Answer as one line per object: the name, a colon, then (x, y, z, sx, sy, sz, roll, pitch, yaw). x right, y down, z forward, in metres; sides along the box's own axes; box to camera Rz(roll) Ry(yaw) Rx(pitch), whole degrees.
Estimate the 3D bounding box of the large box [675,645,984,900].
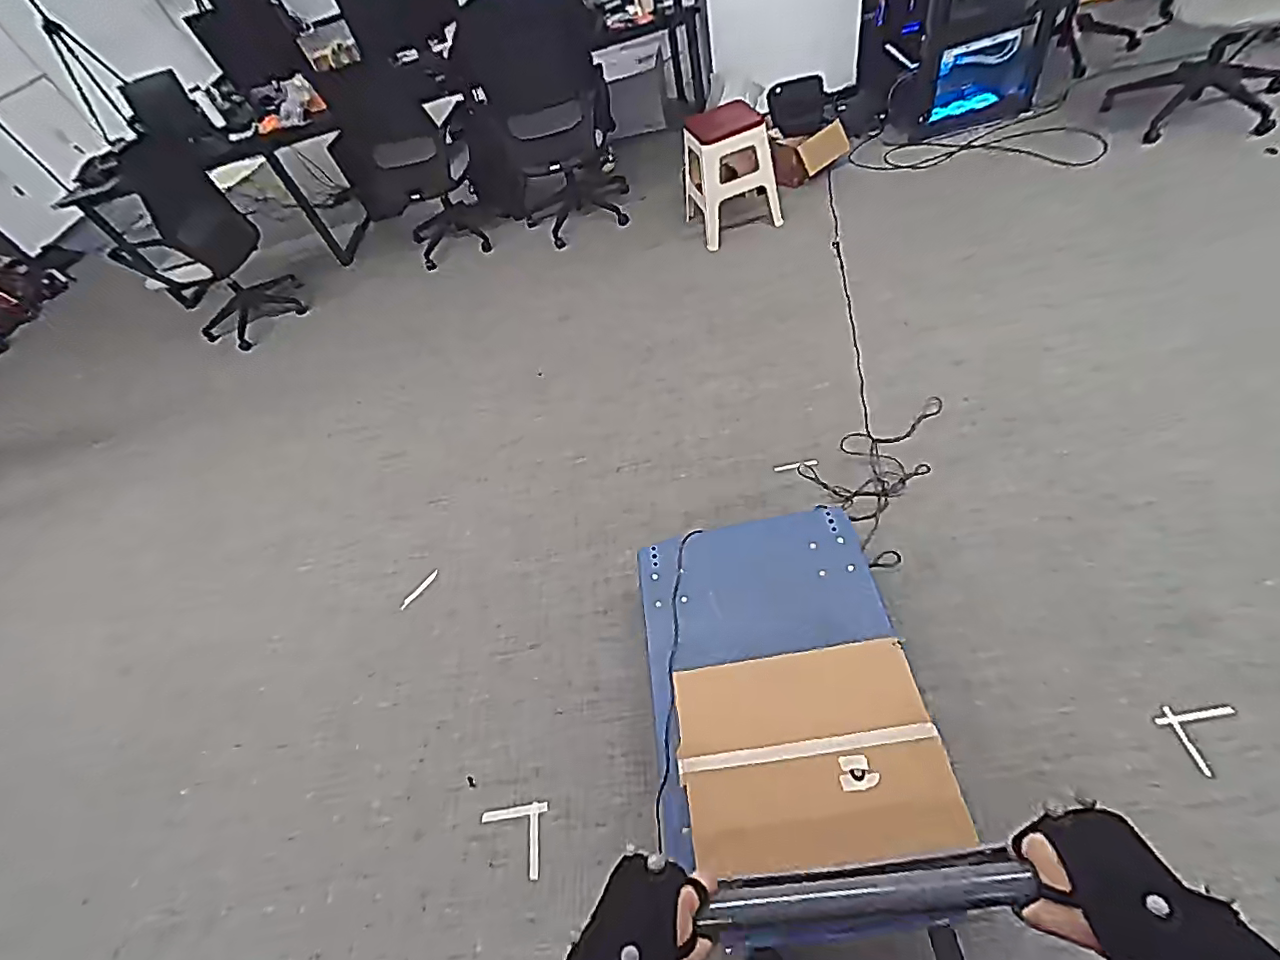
large box: (0.298, 0.532, 0.967, 0.408, 0.320, 0.320, -11, 51, 6)
